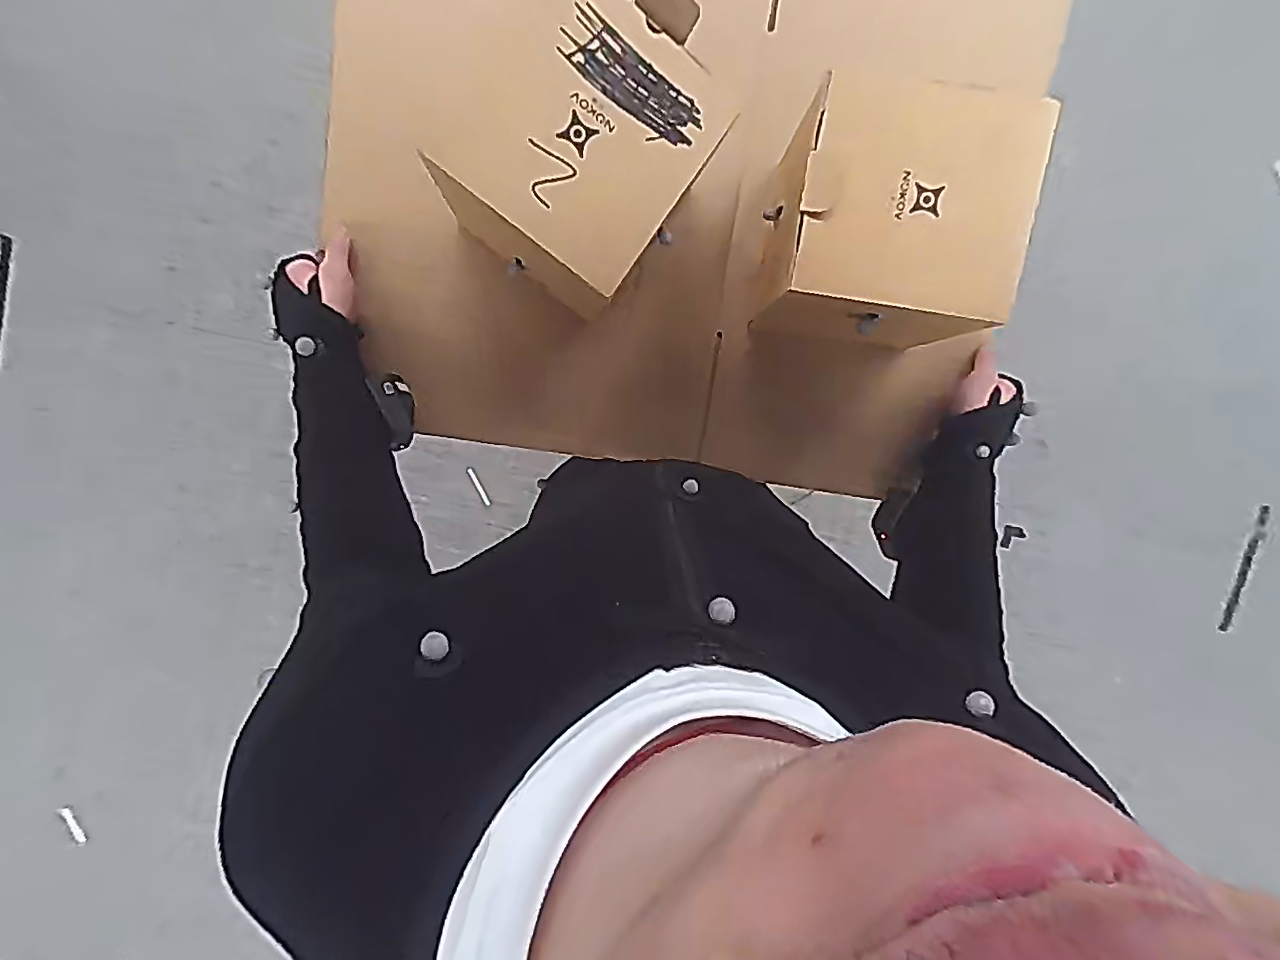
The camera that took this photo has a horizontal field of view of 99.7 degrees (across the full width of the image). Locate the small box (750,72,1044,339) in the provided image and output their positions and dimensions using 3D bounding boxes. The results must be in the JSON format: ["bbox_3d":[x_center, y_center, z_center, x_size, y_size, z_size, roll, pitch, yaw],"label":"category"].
[{"bbox_3d":[0.216,-0.232,0.506,0.179,0.176,0.168,9,97,0],"label":"small box"}]
